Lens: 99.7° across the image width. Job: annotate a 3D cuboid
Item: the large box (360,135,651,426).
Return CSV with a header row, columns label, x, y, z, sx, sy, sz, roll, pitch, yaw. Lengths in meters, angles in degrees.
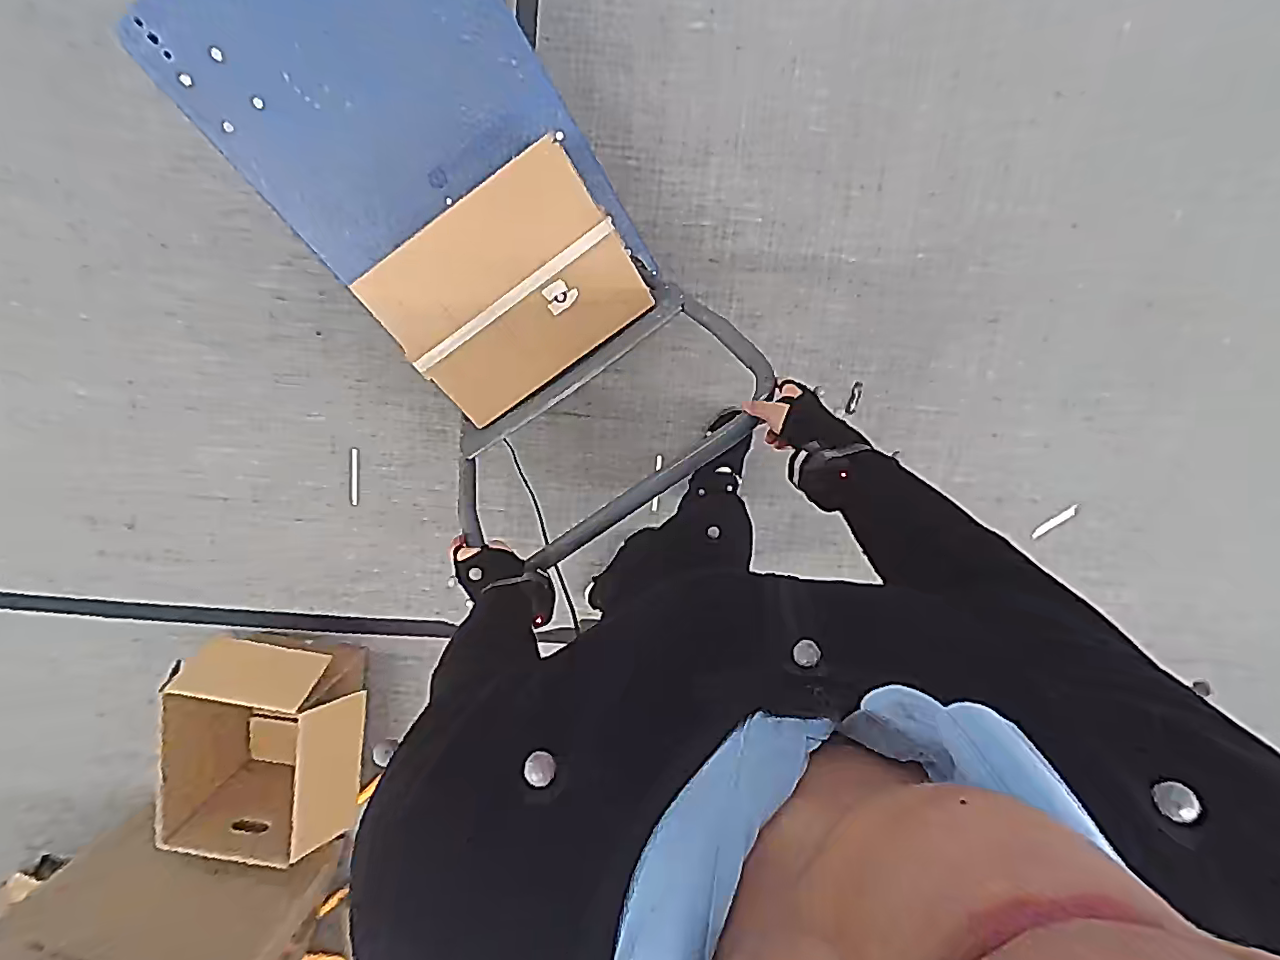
label,x,y,z,sx,sy,sz,roll,pitch,yaw
large box,-0.252,-0.381,1.054,0.408,0.320,0.320,-36,121,4
